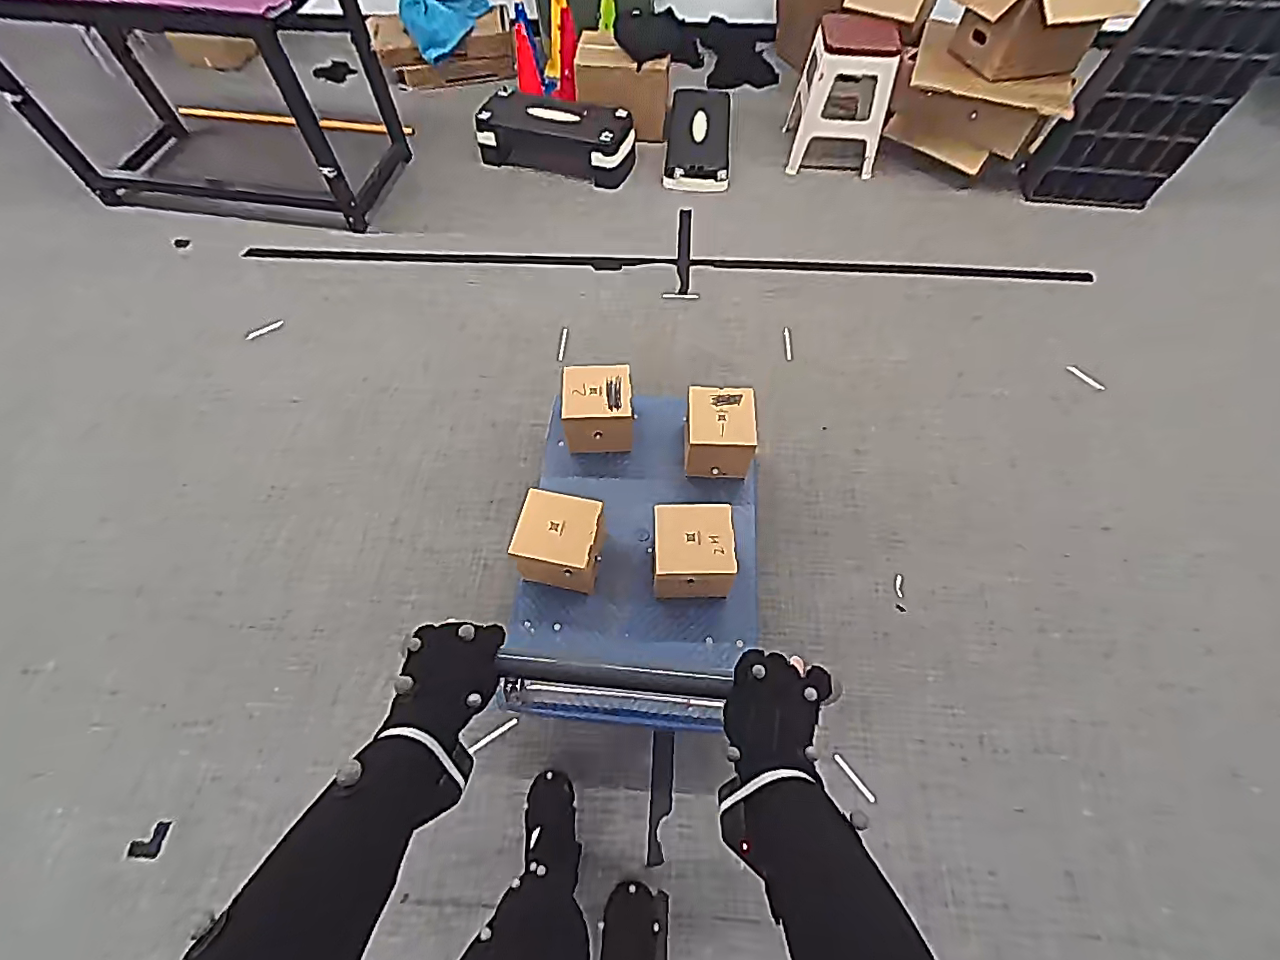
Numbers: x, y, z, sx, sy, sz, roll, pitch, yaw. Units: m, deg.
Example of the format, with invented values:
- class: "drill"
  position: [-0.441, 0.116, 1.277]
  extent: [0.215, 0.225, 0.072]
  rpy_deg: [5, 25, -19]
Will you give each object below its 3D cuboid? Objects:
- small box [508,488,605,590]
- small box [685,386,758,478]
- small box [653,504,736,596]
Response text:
- class: "small box"
  position: [-0.185, 0.142, 1.256]
  extent: [0.179, 0.176, 0.168]
  rpy_deg: [11, 61, 4]
- class: "small box"
  position: [0.204, -0.122, 1.400]
  extent: [0.168, 0.176, 0.179]
  rpy_deg: [2, 62, 1]
- class: "small box"
  position: [0.119, 0.166, 1.242]
  extent: [0.179, 0.176, 0.168]
  rpy_deg: [0, 61, 0]
